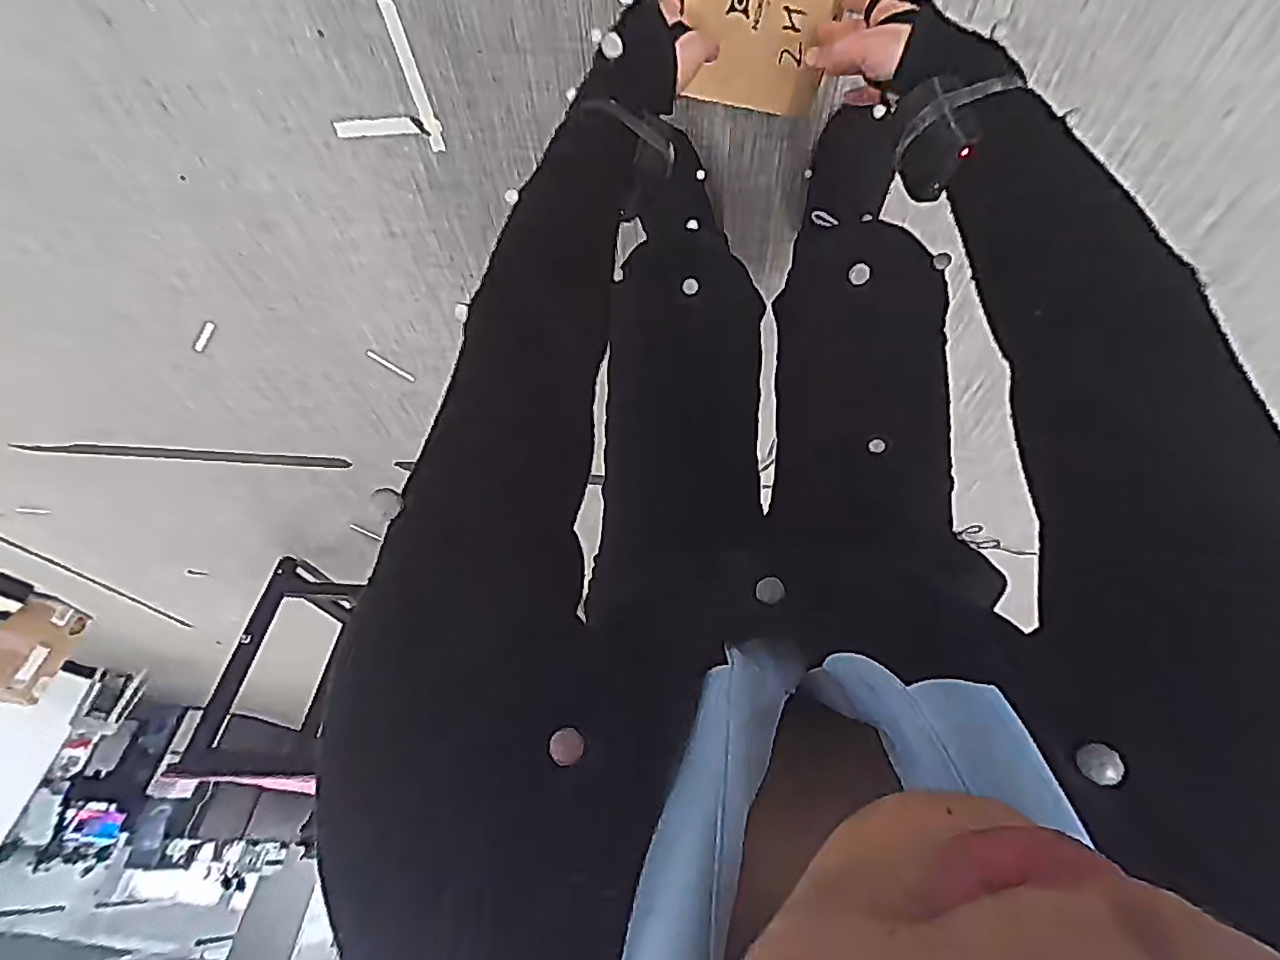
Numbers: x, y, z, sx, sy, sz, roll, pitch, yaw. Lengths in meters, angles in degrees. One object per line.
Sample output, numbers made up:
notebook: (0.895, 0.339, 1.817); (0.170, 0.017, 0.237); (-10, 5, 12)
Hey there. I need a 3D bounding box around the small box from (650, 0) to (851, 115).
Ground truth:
small box: (0.116, -0.507, 0.541); (0.179, 0.176, 0.168); (11, 146, 0)
